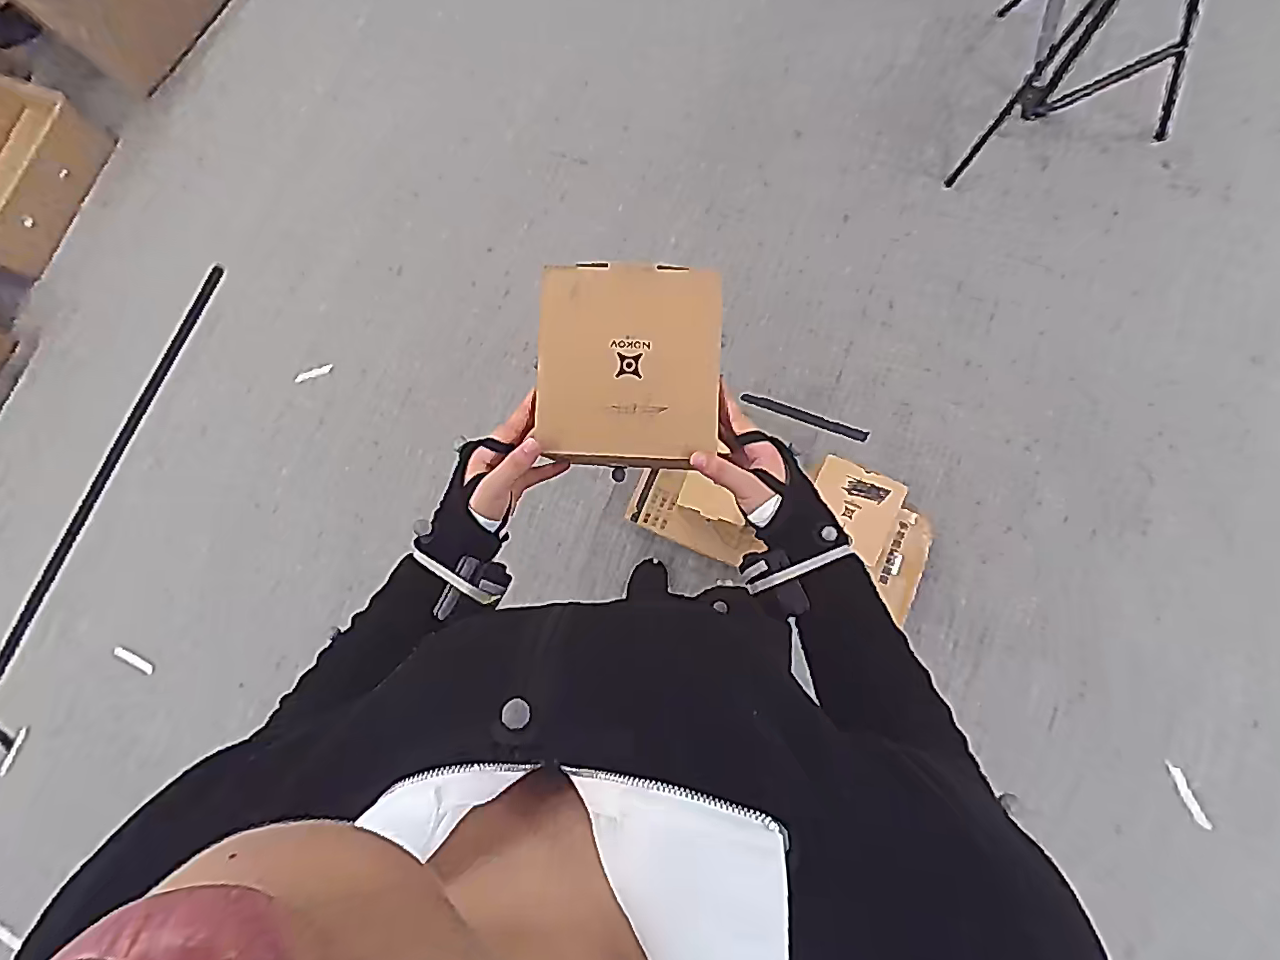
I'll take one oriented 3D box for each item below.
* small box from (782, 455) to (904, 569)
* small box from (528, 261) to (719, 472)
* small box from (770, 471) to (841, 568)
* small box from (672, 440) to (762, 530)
[{"bbox_3d":[0.411,0.072,1.129,0.168,0.176,0.179,25,84,10],"label":"small box"},{"bbox_3d":[-0.014,-0.104,0.563,0.168,0.176,0.179,2,88,1],"label":"small box"},{"bbox_3d":[0.420,0.100,1.291,0.168,0.176,0.179,21,83,10],"label":"small box"},{"bbox_3d":[0.190,0.015,1.331,0.168,0.176,0.179,20,83,9],"label":"small box"}]
